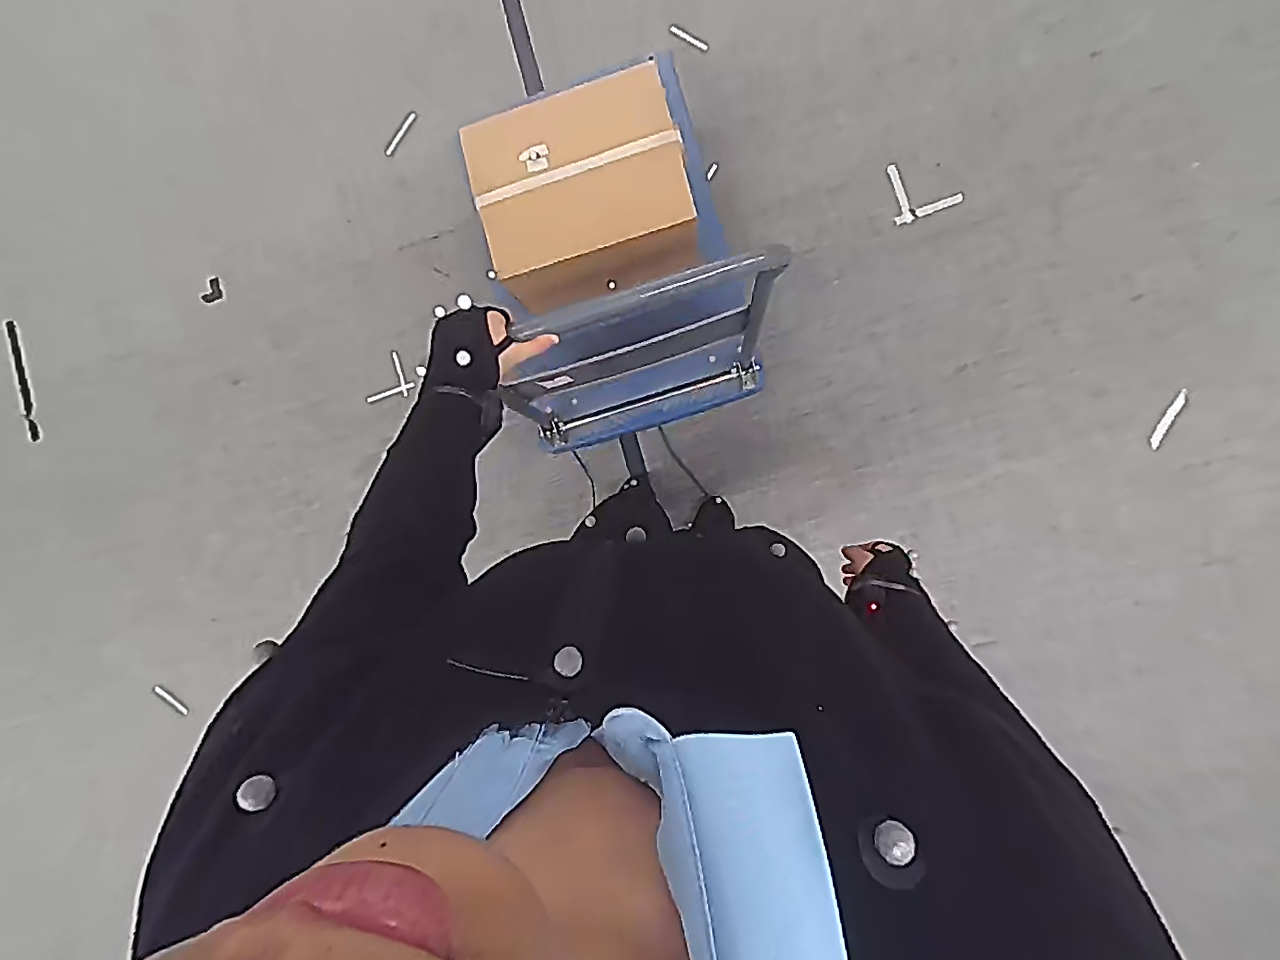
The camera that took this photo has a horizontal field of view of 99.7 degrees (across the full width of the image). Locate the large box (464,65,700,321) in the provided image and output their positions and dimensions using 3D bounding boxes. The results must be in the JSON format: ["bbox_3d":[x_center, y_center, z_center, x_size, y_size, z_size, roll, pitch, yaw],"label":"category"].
[{"bbox_3d":[-0.103,-0.591,1.192,0.408,0.320,0.320,-15,88,8],"label":"large box"}]
